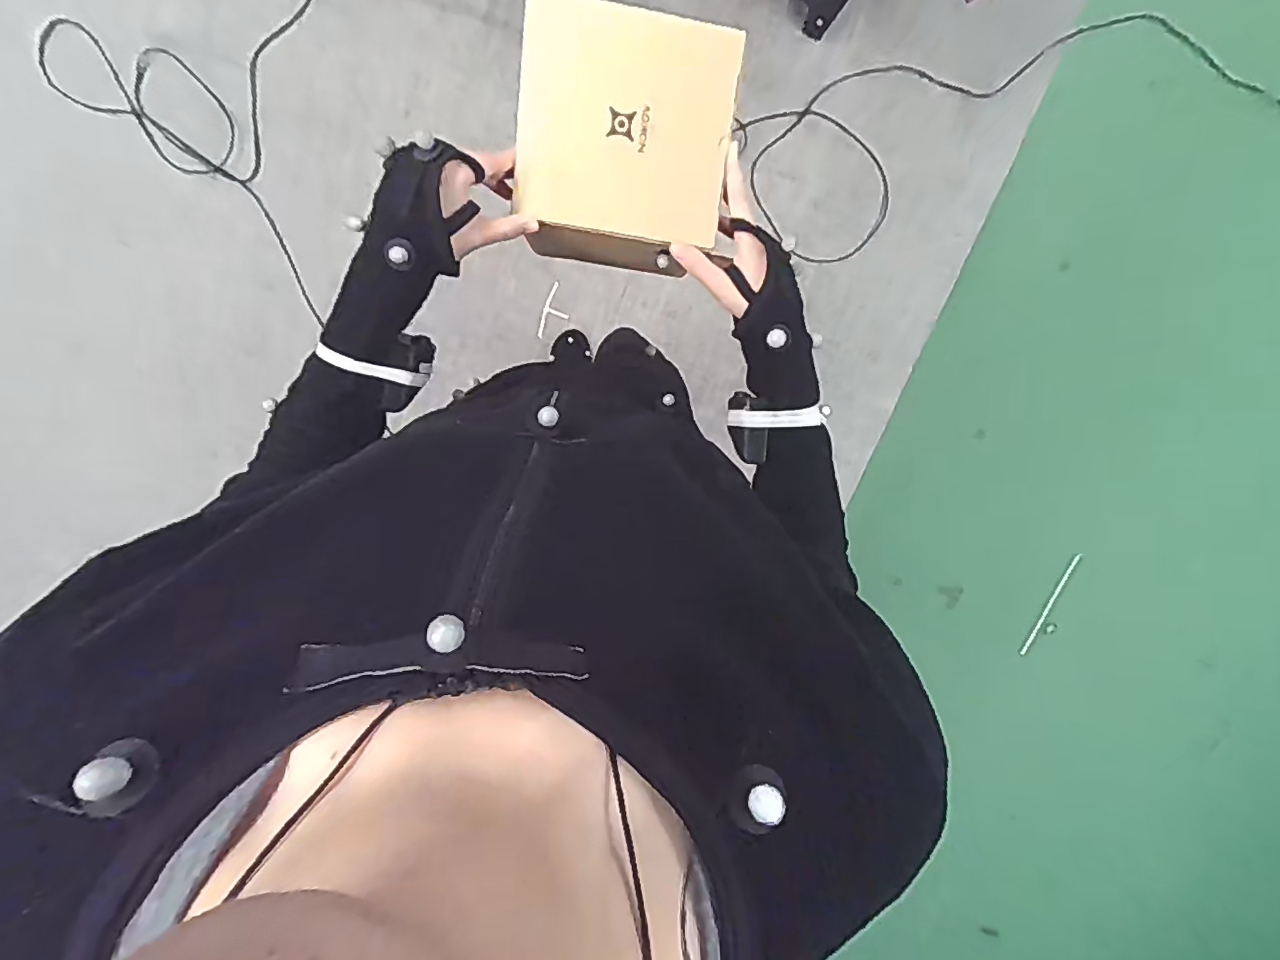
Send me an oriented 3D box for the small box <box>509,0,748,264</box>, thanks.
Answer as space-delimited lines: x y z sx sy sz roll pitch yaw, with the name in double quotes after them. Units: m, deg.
-0.019 -0.313 0.511 0.179 0.176 0.168 6 101 -8 "small box"
